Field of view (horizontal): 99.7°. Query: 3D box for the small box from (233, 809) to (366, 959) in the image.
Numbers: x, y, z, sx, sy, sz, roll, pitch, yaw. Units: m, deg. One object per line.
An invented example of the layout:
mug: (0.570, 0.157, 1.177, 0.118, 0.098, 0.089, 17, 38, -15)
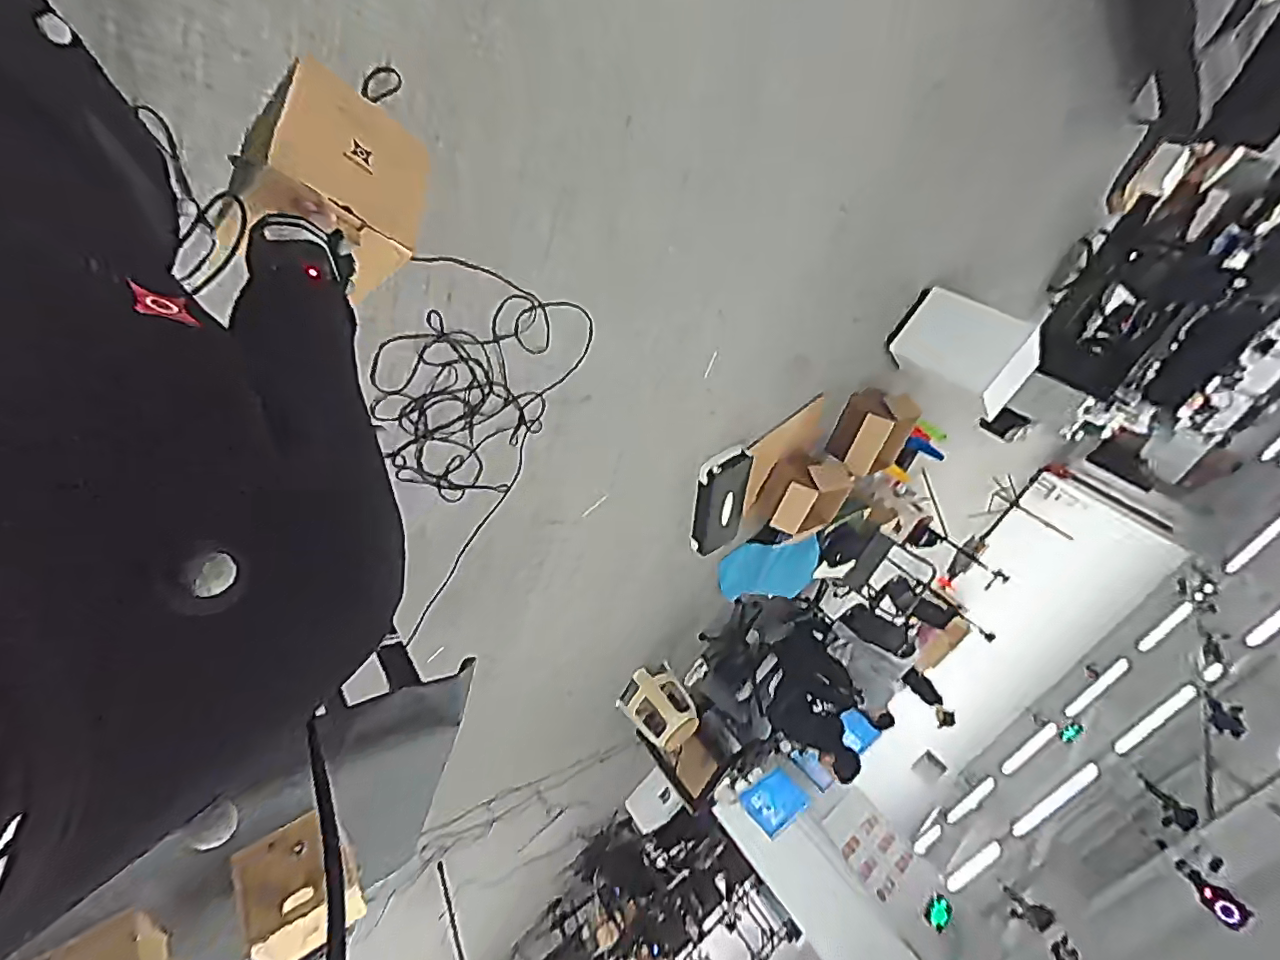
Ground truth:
small box: (-0.636, 0.765, 1.017, 0.168, 0.176, 0.179, -19, 136, -34)

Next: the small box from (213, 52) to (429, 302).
small box: (-0.393, -0.356, 0.672, 0.176, 0.179, 0.168, -15, 156, 33)
